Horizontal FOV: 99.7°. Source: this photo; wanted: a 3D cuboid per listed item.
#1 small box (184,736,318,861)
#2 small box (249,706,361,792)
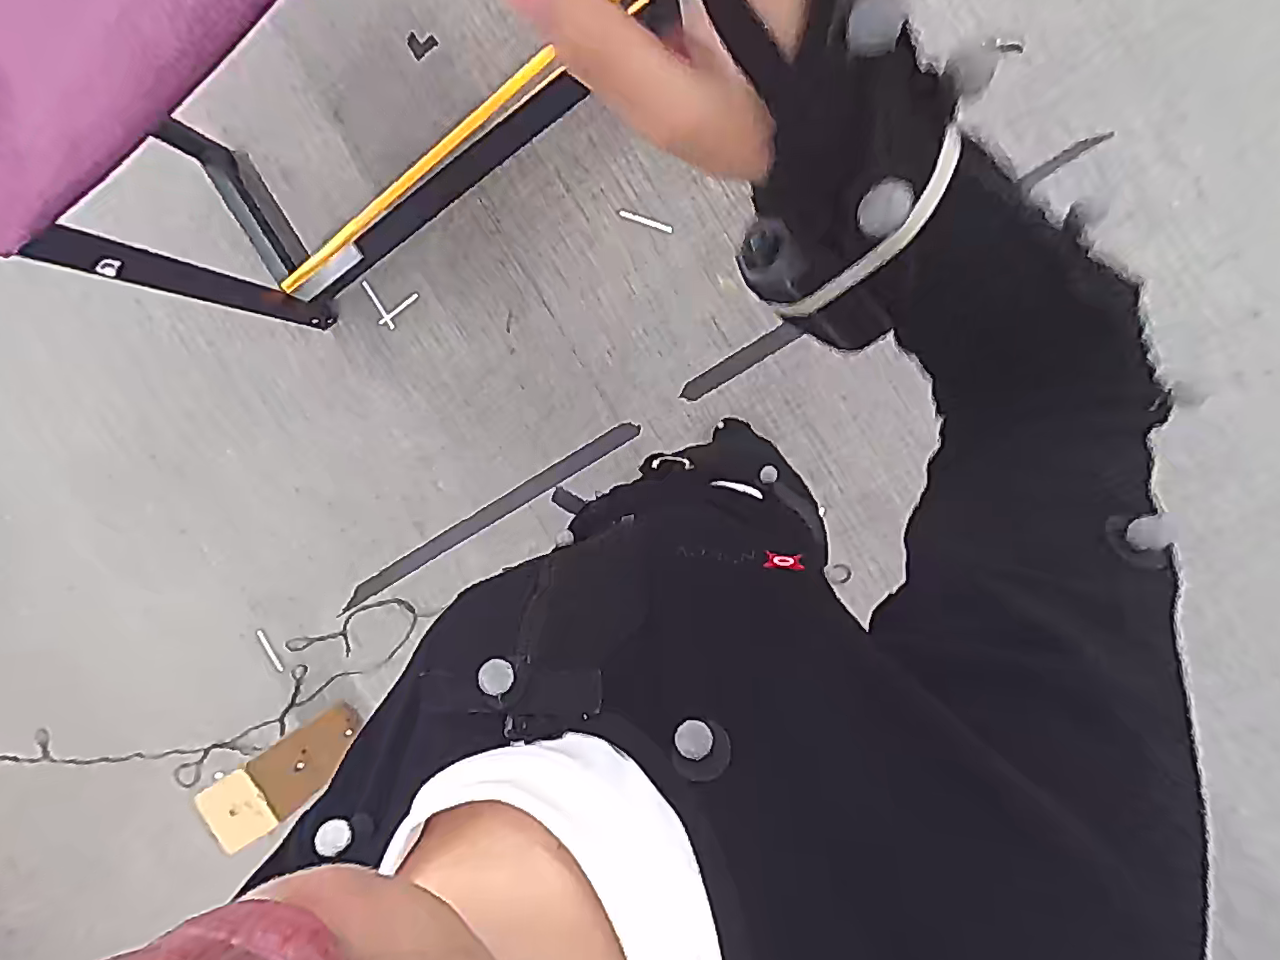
[{"bbox_3d":[-0.951,0.778,1.336,0.179,0.176,0.168,-33,89,10],"label":"small box"},{"bbox_3d":[-0.925,0.766,1.498,0.179,0.176,0.168,-31,89,9],"label":"small box"}]
